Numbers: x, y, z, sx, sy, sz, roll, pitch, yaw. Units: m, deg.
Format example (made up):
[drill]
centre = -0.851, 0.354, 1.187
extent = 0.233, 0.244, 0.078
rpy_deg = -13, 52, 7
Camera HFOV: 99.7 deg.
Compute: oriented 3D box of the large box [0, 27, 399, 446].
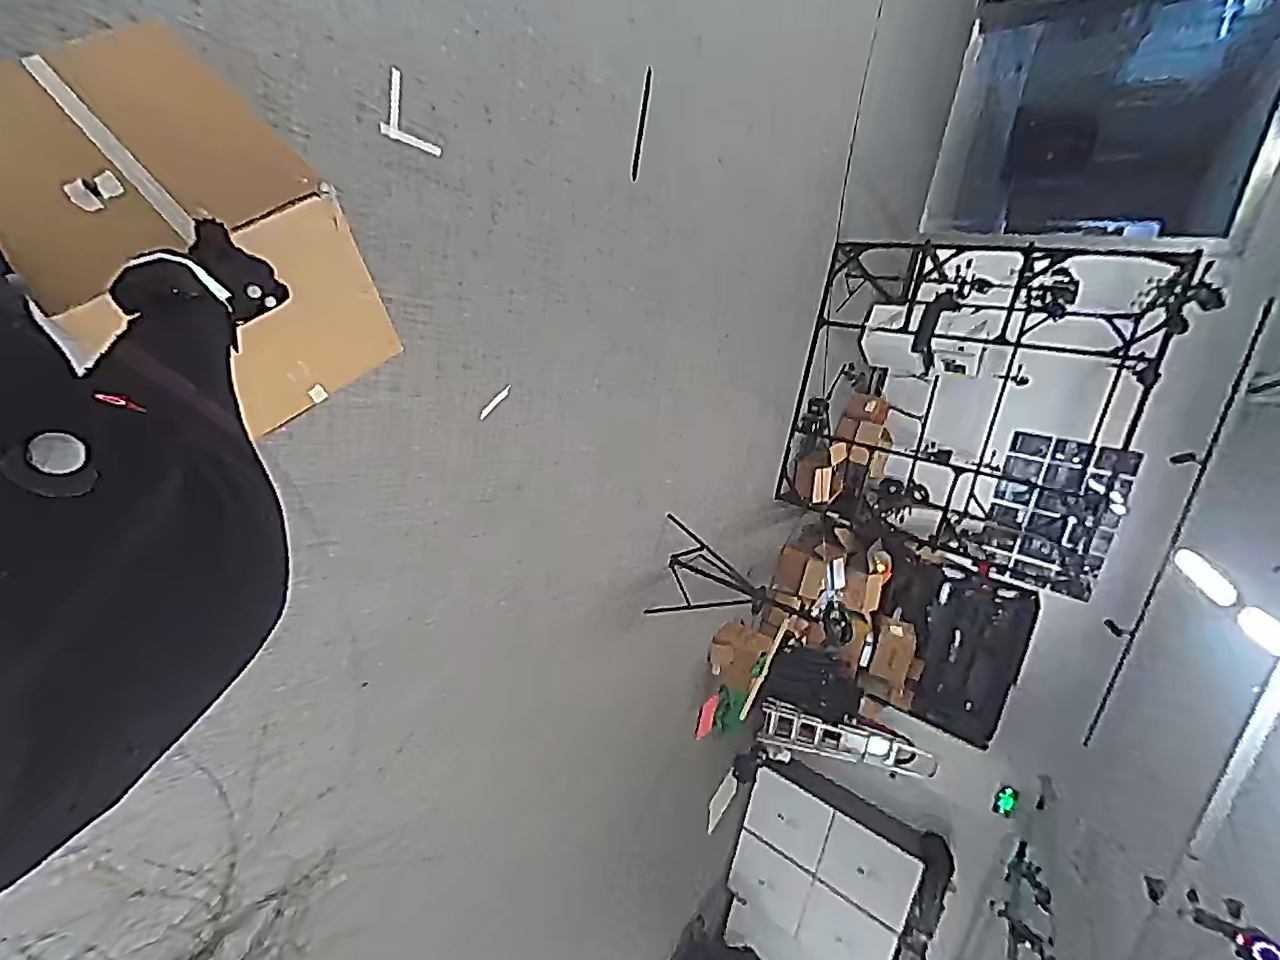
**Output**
[large box]
centre = -0.633, -0.329, 0.774
extent = 0.320, 0.408, 0.320
rpy_deg = -42, 169, -20
